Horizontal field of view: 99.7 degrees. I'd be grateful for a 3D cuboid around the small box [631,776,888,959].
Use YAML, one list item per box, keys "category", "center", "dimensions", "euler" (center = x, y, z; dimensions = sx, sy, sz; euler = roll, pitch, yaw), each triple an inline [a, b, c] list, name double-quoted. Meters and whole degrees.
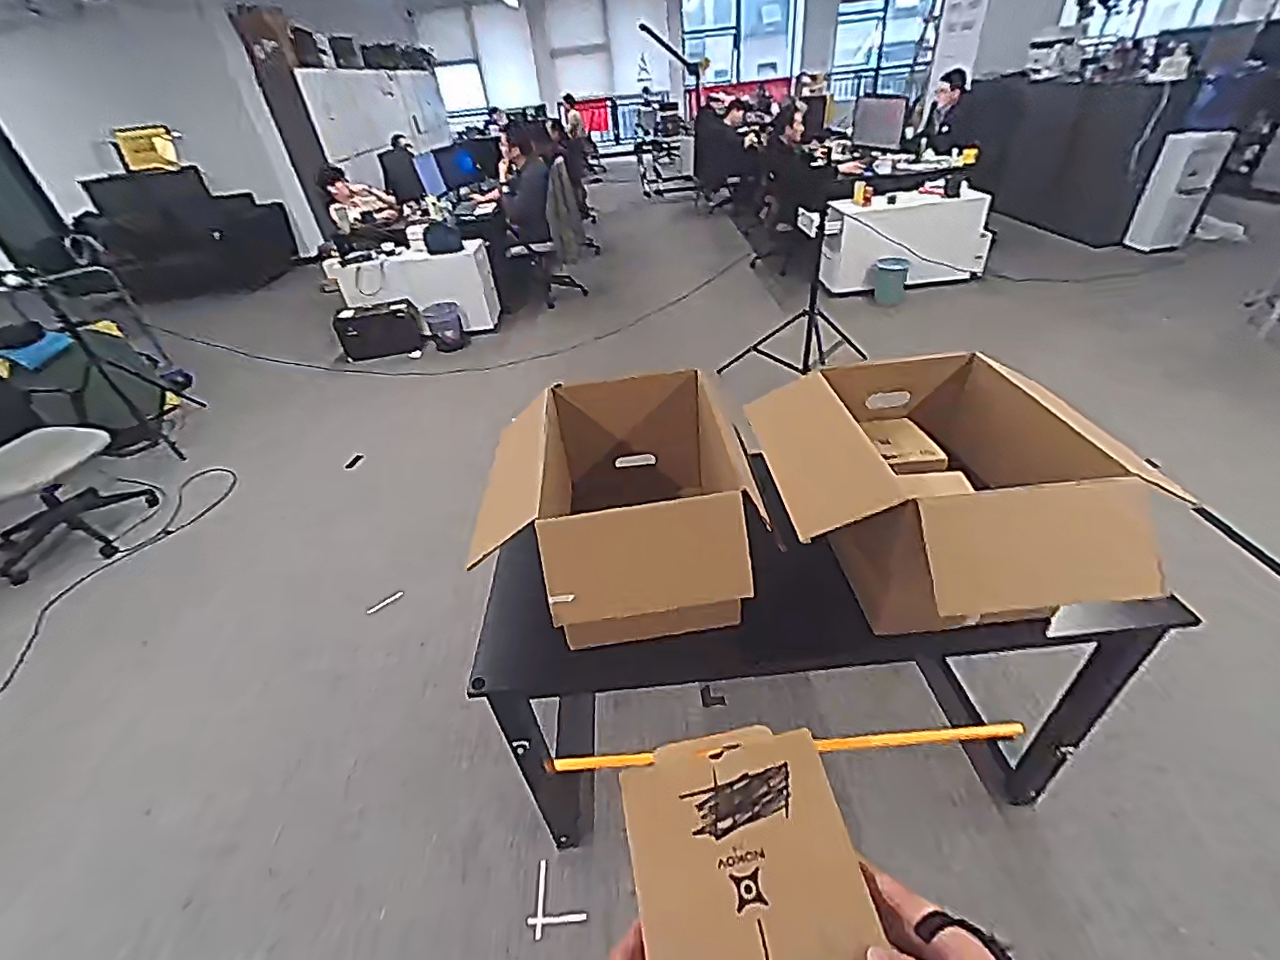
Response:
- category: "small box"
  center: [0.092, 0.372, 0.444]
  dimensions: [0.168, 0.176, 0.179]
  euler: [-12, 50, -3]
